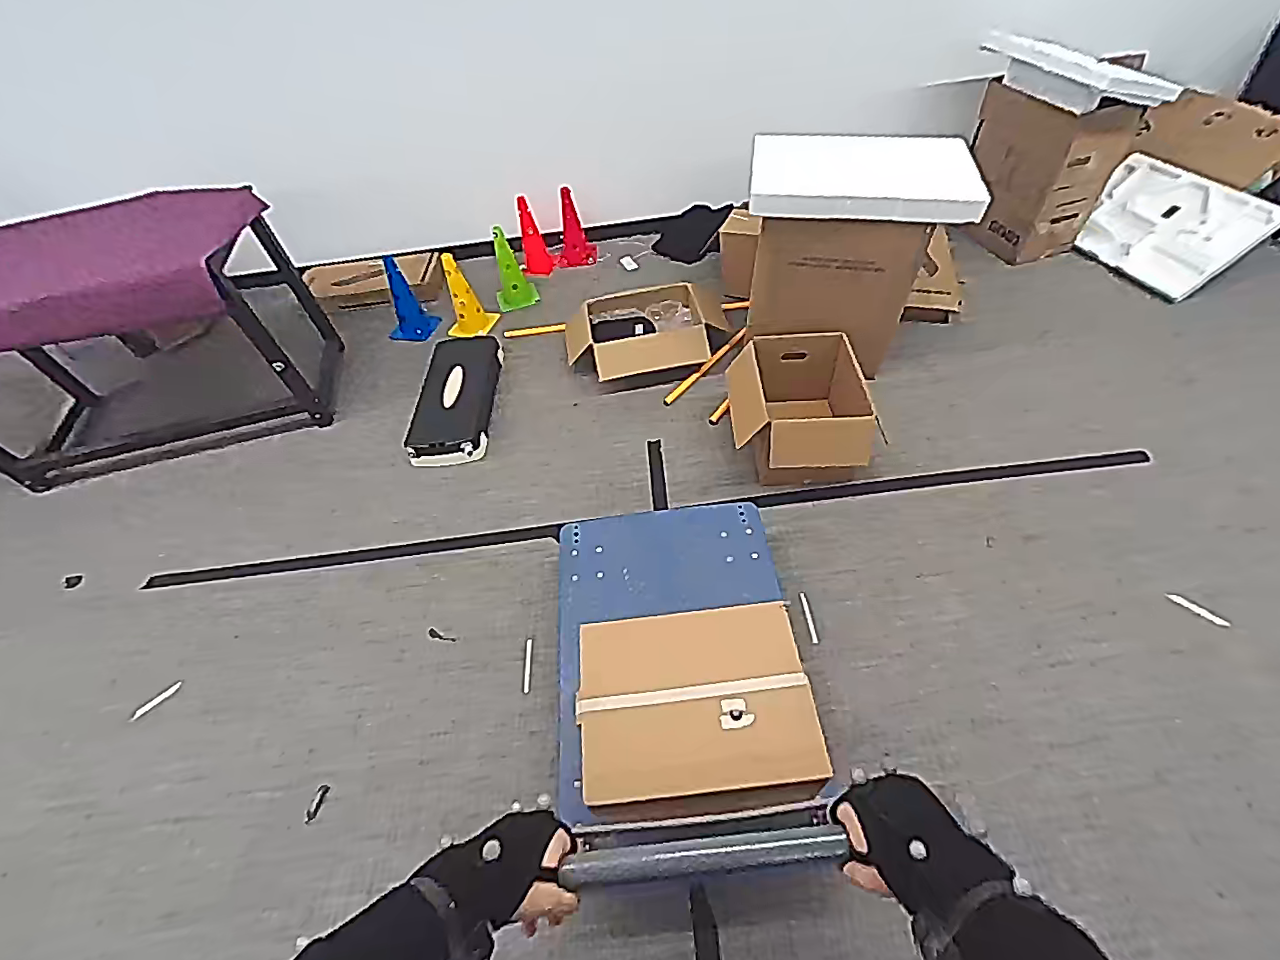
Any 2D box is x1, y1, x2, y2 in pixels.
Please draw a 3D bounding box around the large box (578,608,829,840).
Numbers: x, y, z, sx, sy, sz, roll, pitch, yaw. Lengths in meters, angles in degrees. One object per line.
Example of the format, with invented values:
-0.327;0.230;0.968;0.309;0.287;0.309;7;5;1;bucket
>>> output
0.101;0.484;1.064;0.408;0.320;0.320;-7;51;0;large box
